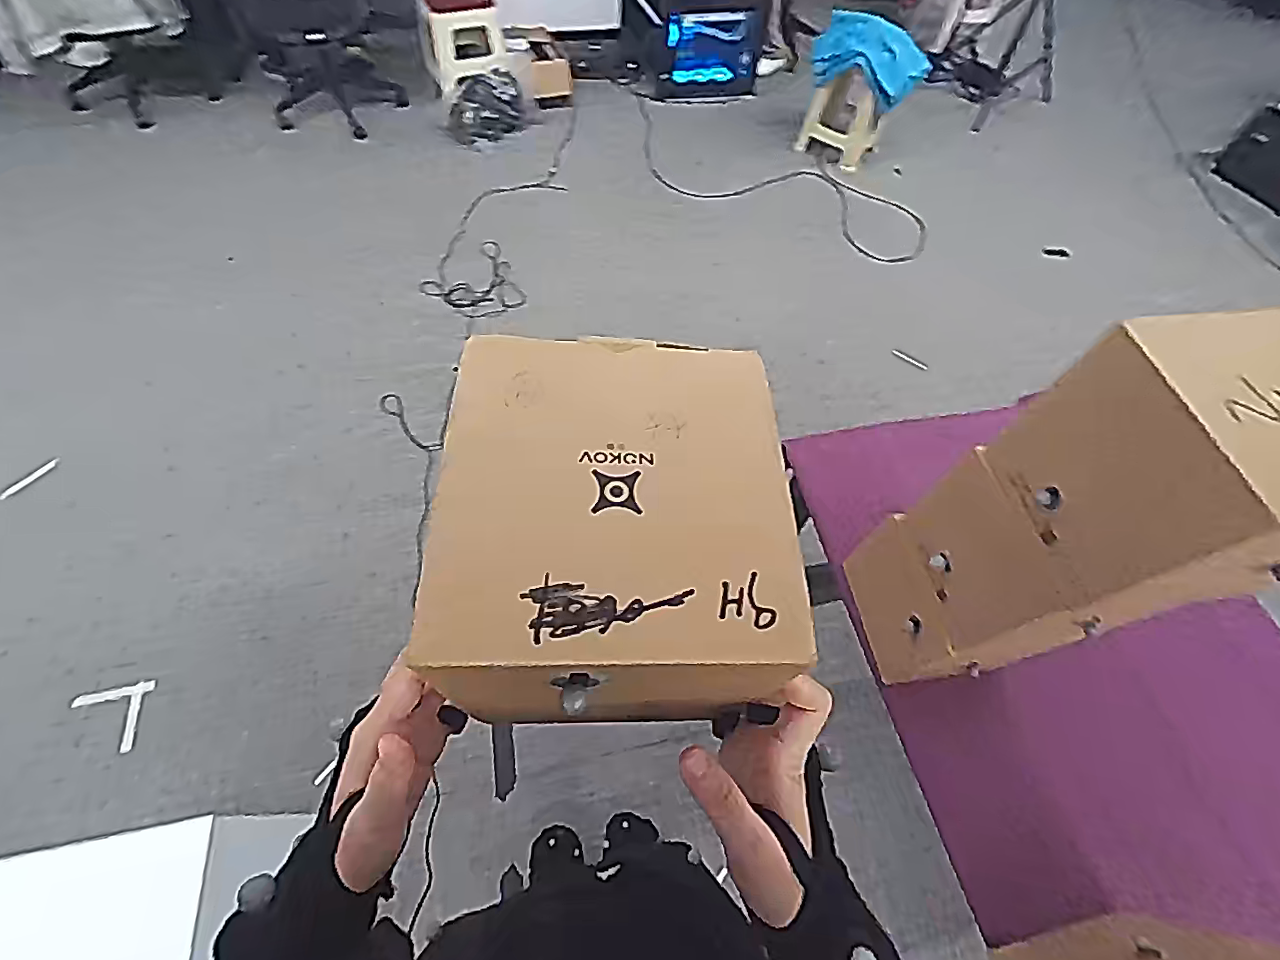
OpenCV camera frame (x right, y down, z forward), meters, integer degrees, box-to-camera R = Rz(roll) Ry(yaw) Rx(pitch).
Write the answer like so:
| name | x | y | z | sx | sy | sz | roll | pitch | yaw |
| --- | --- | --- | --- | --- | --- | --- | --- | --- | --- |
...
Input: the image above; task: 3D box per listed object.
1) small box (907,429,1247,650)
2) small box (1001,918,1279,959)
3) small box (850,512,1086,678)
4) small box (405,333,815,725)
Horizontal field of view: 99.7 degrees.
| name | x | y | z | sx | sy | sz | roll | pitch | yaw |
| --- | --- | --- | --- | --- | --- | --- | --- | --- | --- |
| small box | 0.421 | 0.067 | 0.560 | 0.179 | 0.176 | 0.168 | -6 | 60 | -6 |
| small box | 0.476 | 0.522 | 0.483 | 0.179 | 0.176 | 0.168 | -9 | 59 | -8 |
| small box | 0.402 | 0.150 | 0.701 | 0.168 | 0.176 | 0.179 | -5 | 59 | -7 |
| small box | -0.020 | 0.038 | 0.323 | 0.168 | 0.176 | 0.179 | 1 | 59 | -6 |
